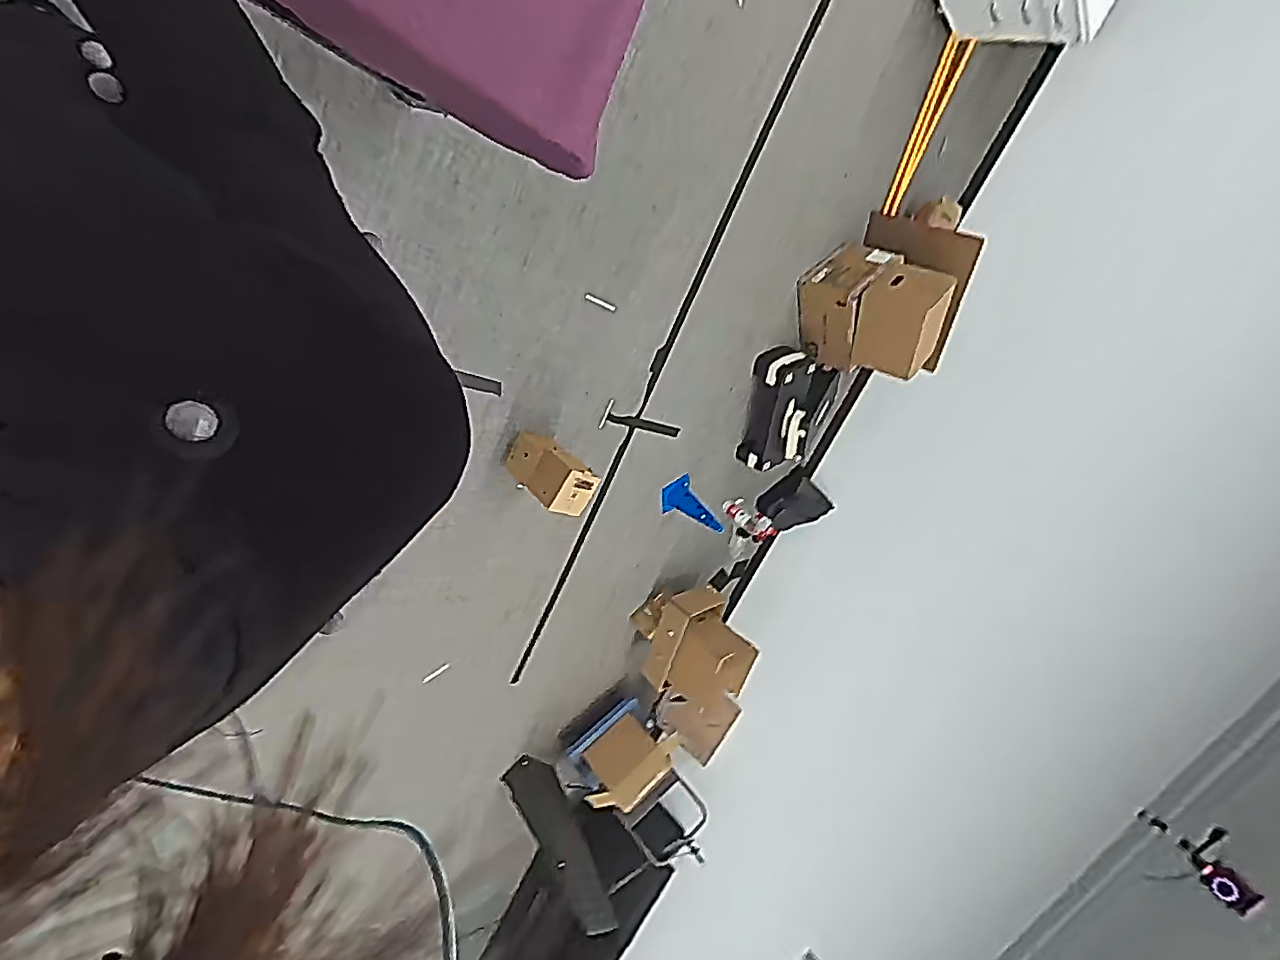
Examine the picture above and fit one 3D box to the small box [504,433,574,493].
[{"bbox_3d":[-0.400,-0.069,2.111,0.179,0.176,0.168,11,112,-51],"label":"small box"}]
